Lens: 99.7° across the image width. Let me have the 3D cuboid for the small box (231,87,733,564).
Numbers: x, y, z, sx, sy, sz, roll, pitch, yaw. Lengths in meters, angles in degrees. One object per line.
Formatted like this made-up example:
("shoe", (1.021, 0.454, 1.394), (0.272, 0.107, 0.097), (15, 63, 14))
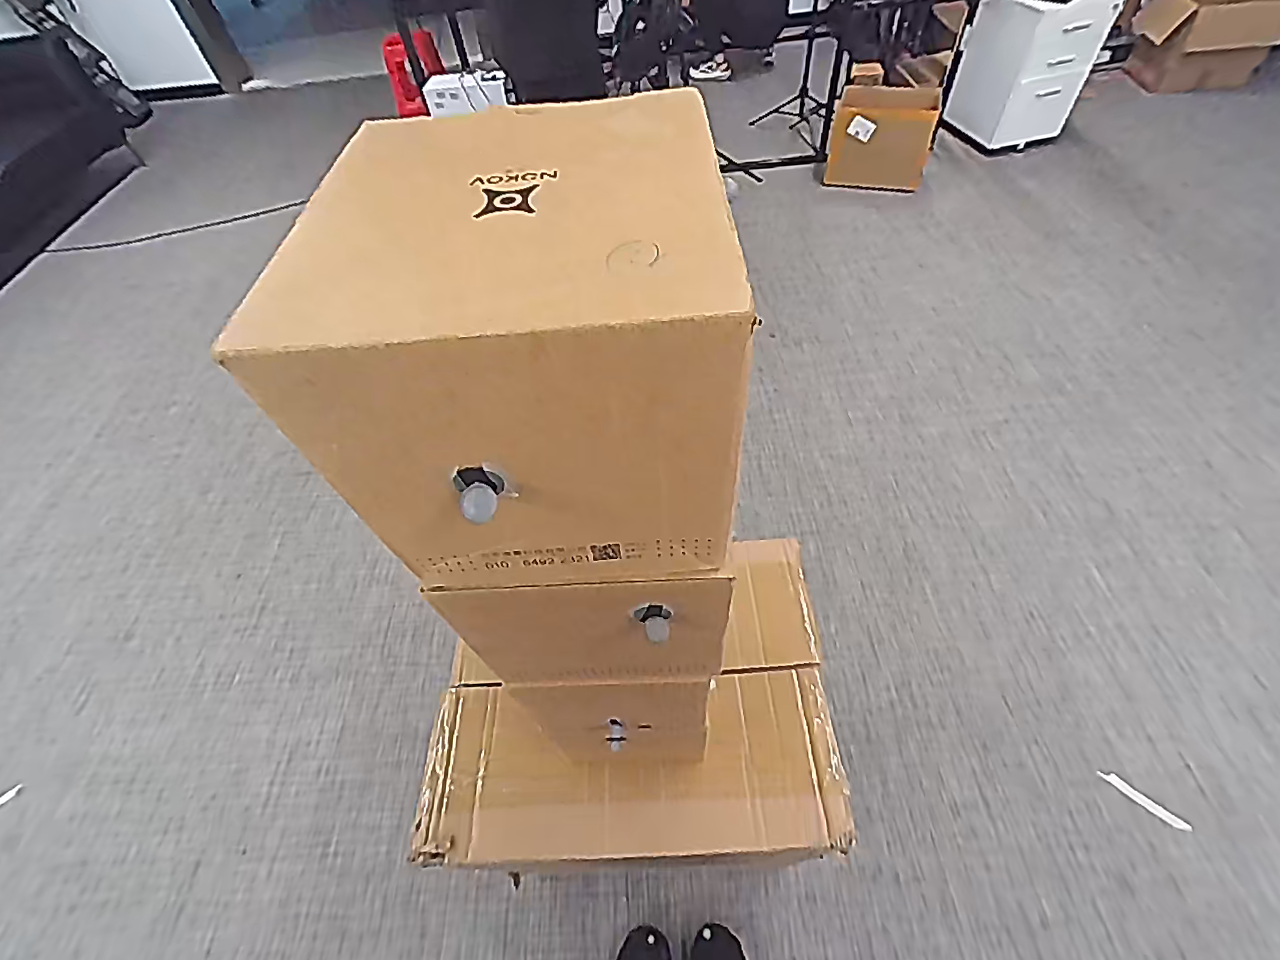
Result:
("small box", (-0.046, -0.067, 0.280), (0.168, 0.176, 0.179), (-5, 53, 2))

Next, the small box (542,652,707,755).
("small box", (-0.010, 0.234, 0.667), (0.179, 0.176, 0.168), (-3, 53, 3))

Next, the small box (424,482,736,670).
("small box", (-0.030, 0.034, 0.406), (0.179, 0.176, 0.168), (-4, 53, 3))
